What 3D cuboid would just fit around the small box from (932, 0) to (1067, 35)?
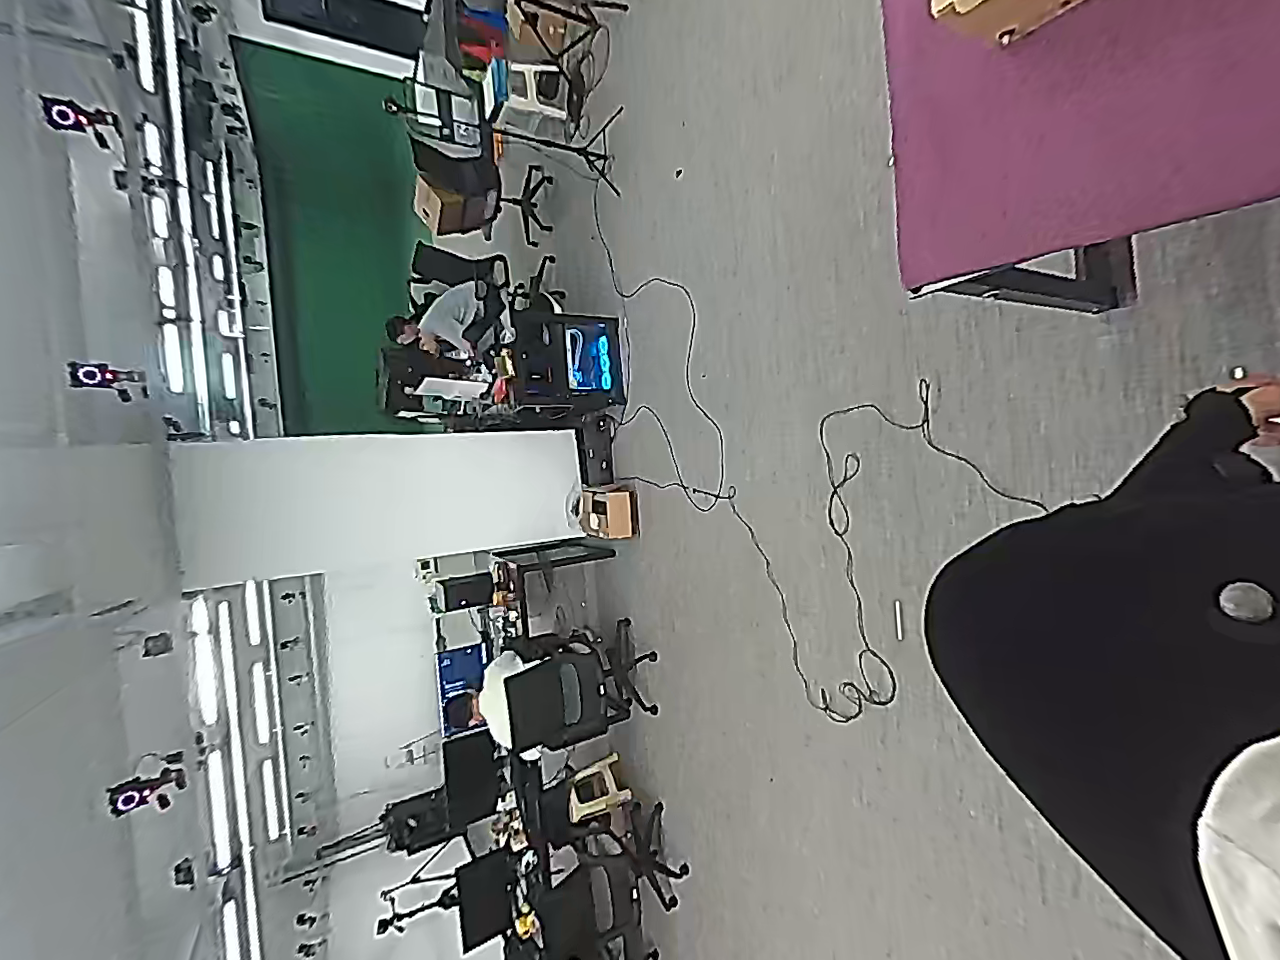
[{"bbox_3d":[0.524,-0.751,0.731,0.168,0.176,0.179,9,103,59],"label":"small box"}]
